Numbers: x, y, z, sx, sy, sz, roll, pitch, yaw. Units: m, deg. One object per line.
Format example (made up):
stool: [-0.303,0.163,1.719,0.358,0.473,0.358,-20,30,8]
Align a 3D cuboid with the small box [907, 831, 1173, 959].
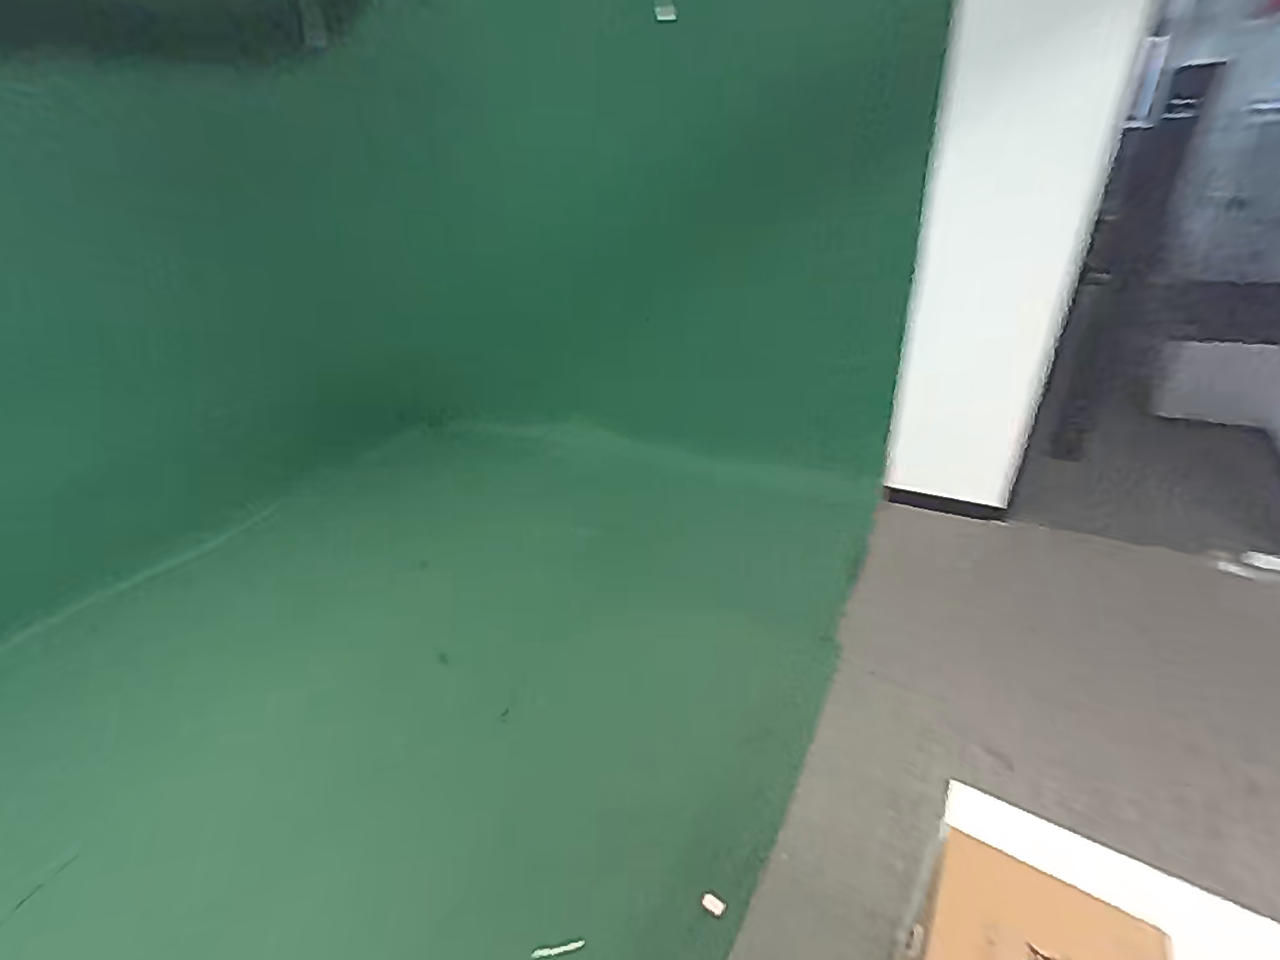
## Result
small box: [0.354,0.488,0.504,0.179,0.176,0.168,15,37,31]
